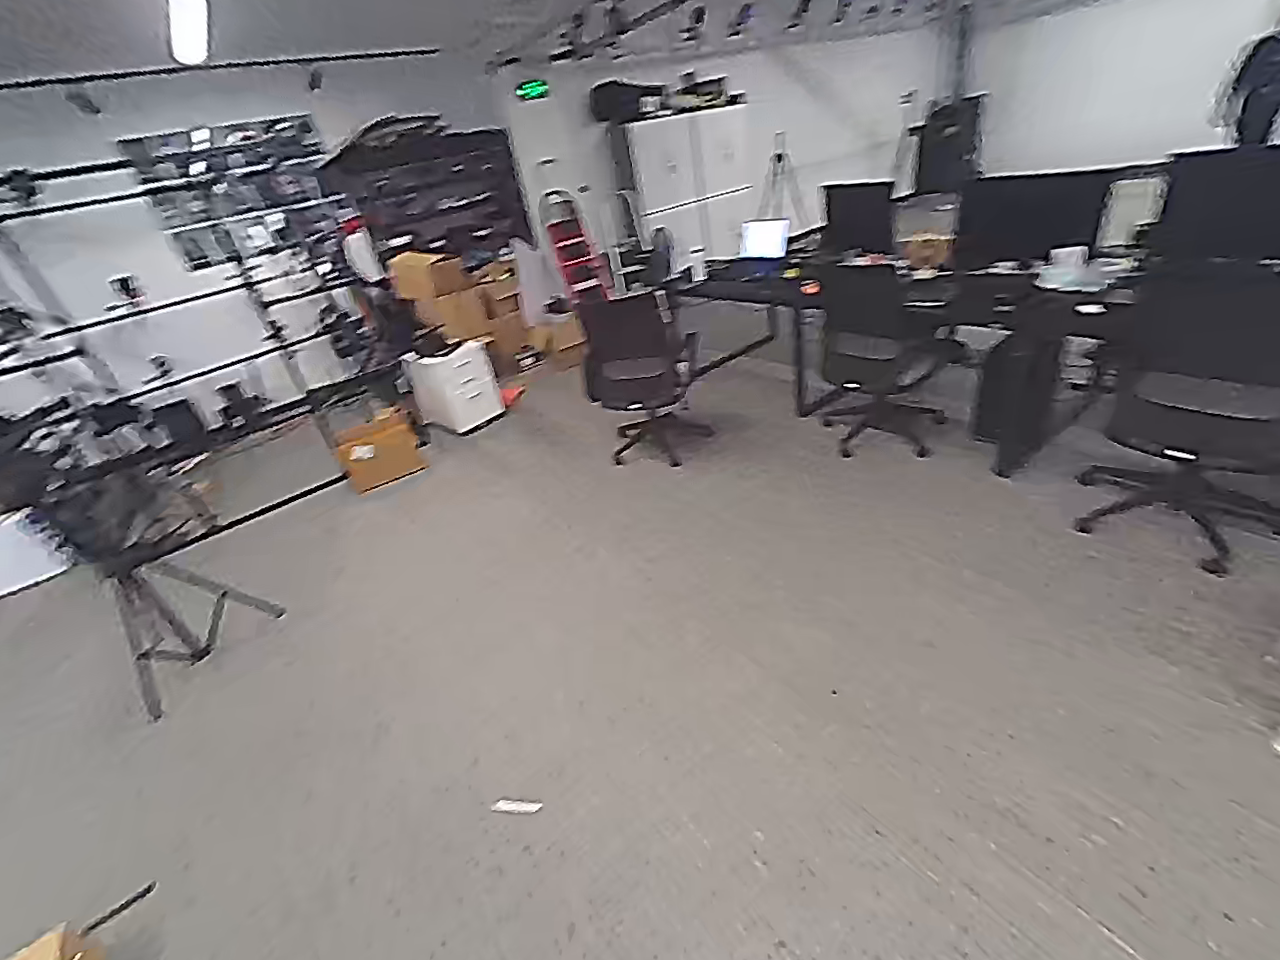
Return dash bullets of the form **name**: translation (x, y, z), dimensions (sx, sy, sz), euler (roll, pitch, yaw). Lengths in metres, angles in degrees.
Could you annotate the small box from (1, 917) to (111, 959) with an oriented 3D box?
- **small box**: translation (-1.473, 1.258, 1.343), dimensions (0.168, 0.176, 0.179), euler (-30, 34, -27)
